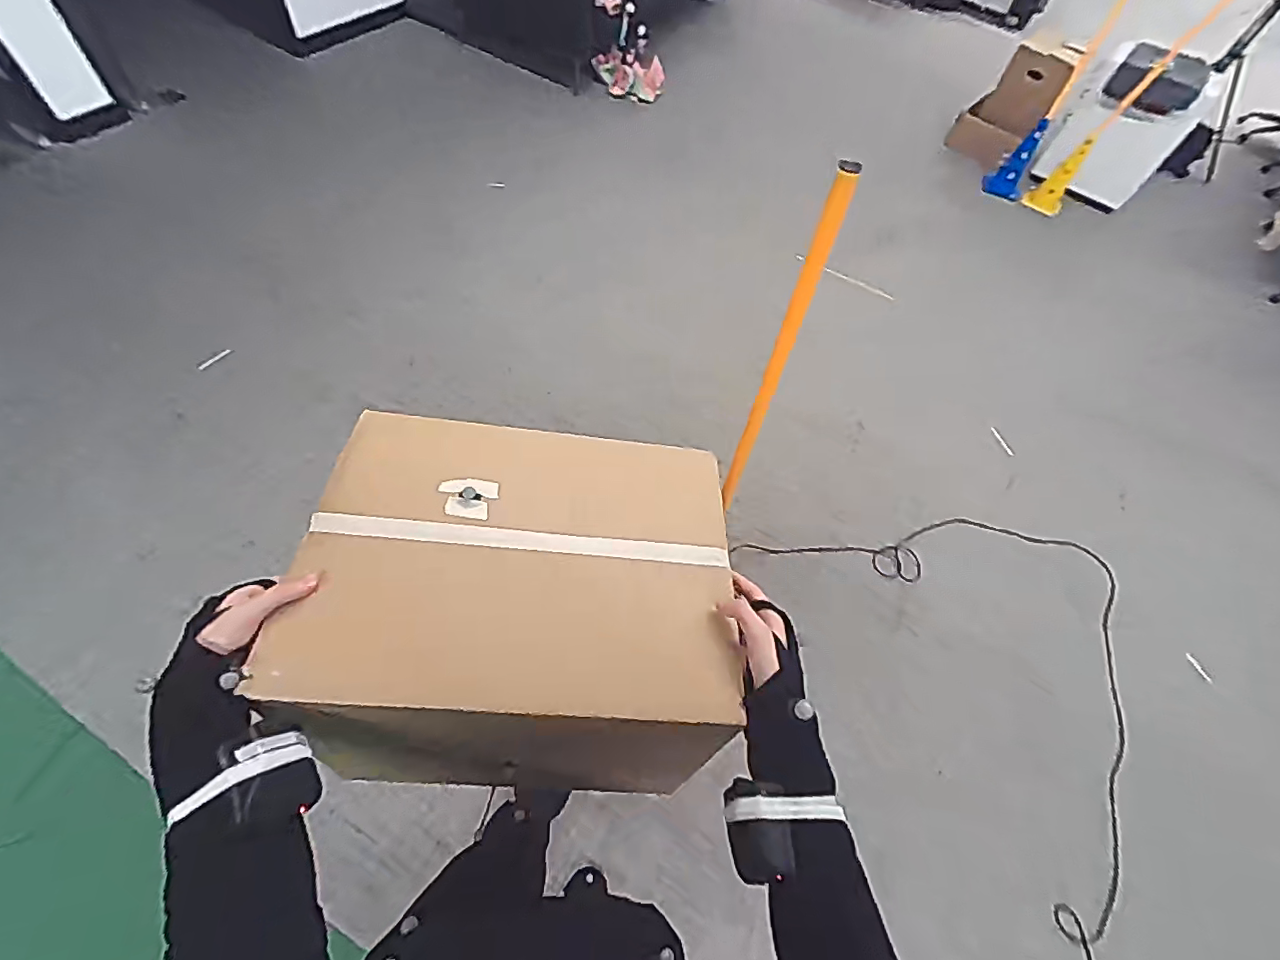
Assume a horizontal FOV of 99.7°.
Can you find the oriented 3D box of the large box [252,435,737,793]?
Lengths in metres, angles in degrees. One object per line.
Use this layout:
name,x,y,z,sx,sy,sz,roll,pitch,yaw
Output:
large box,-0.132,0.177,0.655,0.408,0.320,0.320,6,48,-7
